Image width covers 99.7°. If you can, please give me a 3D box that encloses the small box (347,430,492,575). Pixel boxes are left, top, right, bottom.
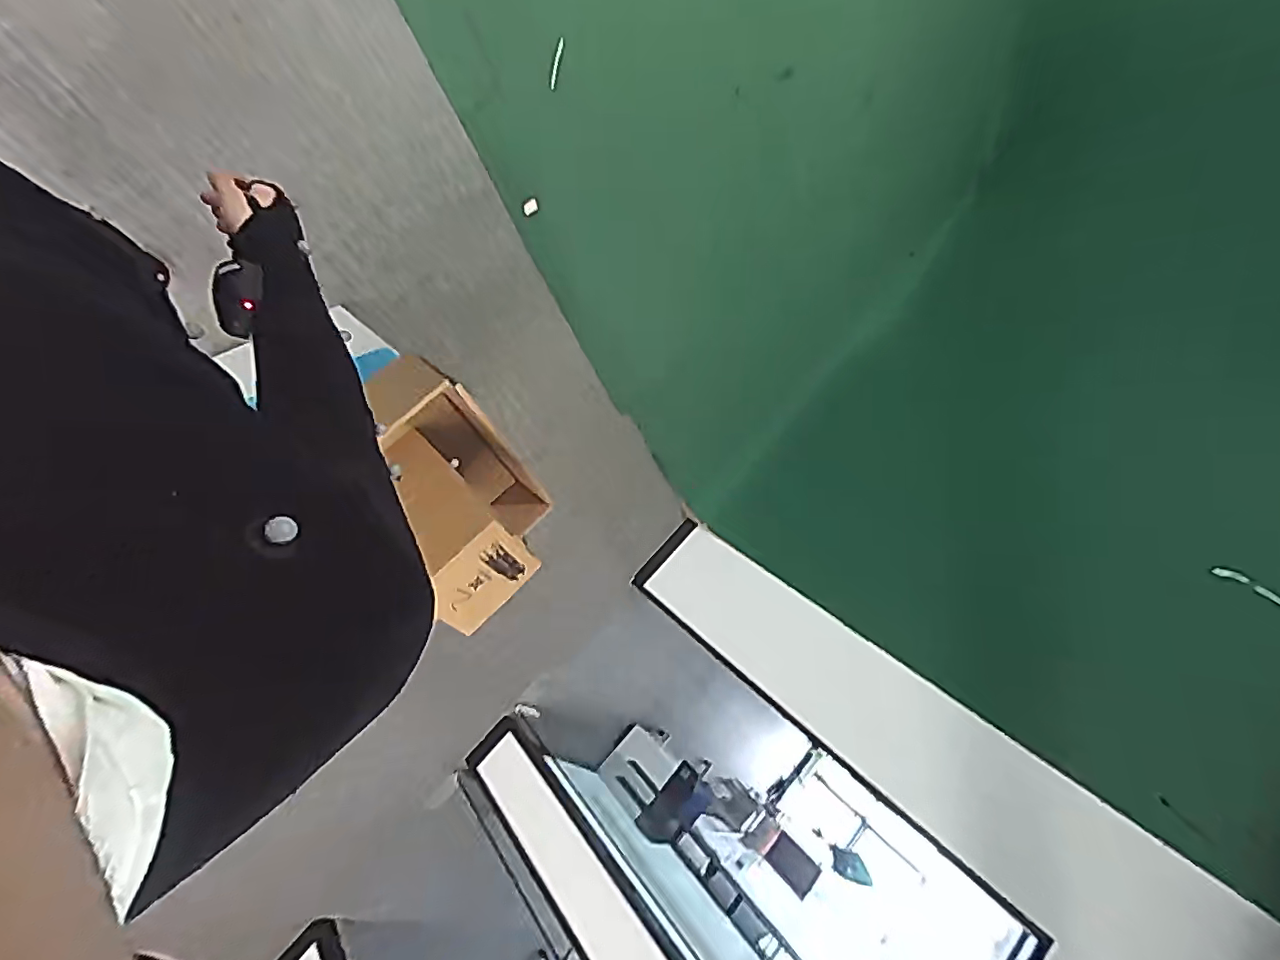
[{"bbox_3d":[-0.421,0.039,1.022,0.179,0.176,0.168,-43,142,-13],"label":"small box"}]
